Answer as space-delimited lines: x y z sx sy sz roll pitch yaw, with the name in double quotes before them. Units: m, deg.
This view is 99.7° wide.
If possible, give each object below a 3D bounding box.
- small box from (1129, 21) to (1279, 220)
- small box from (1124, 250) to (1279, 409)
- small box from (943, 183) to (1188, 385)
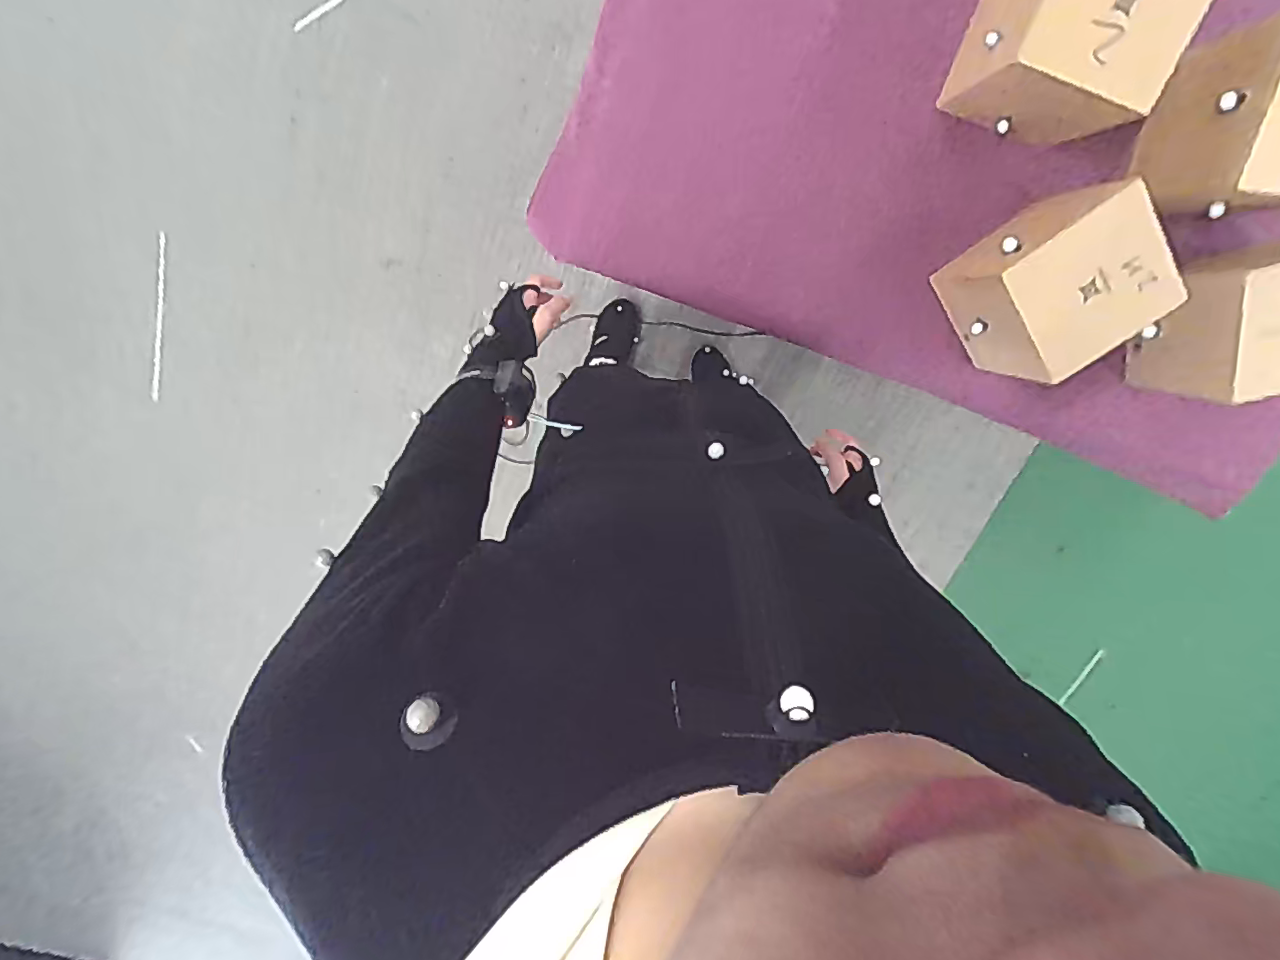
"small box" 0.761 -0.424 0.659 0.168 0.176 0.179 5 110 -1
"small box" 0.821 -0.210 0.734 0.179 0.176 0.168 -13 109 5
"small box" 0.540 -0.251 0.717 0.179 0.176 0.168 -35 106 10
